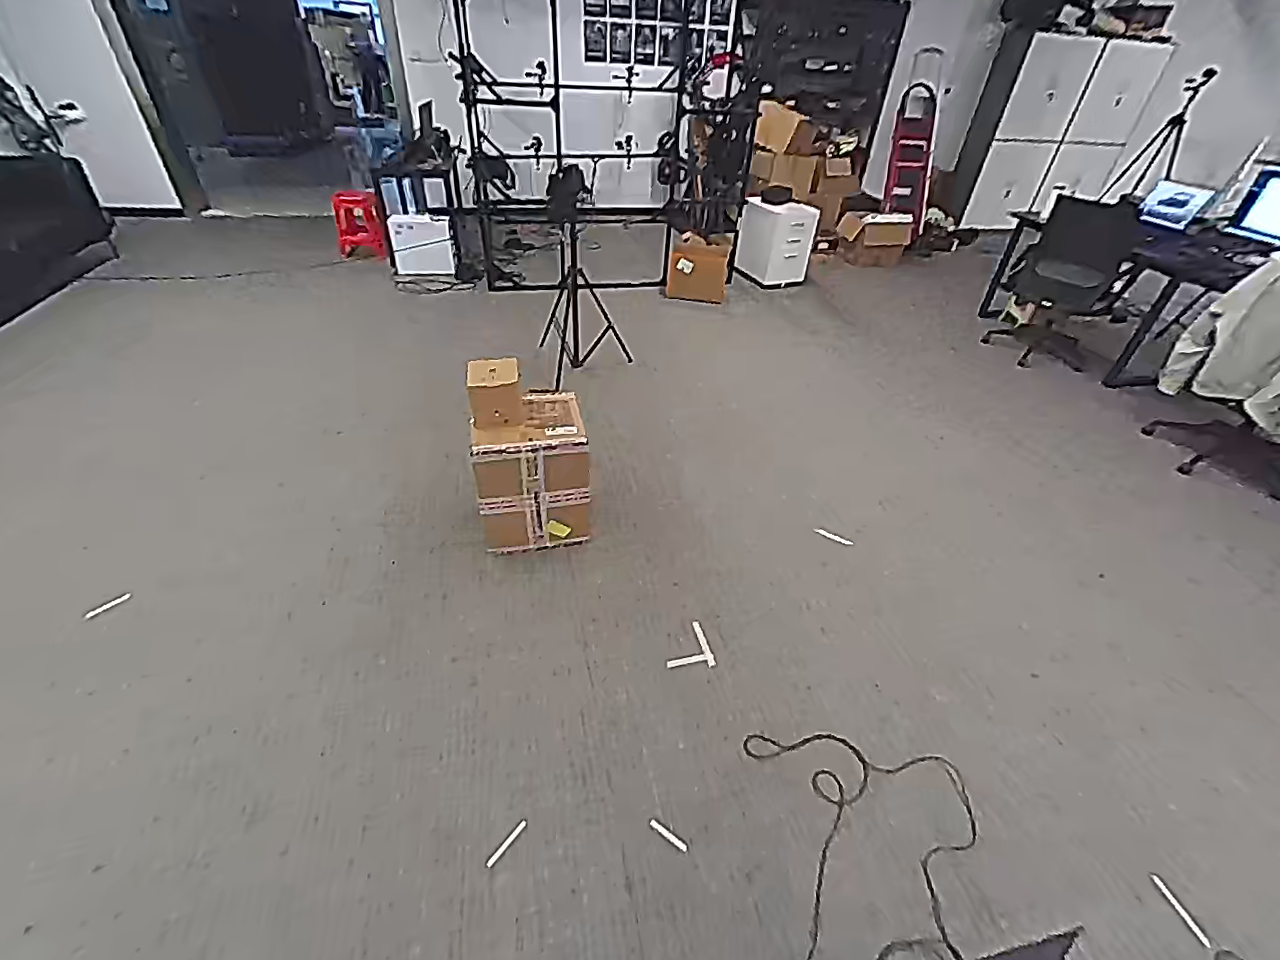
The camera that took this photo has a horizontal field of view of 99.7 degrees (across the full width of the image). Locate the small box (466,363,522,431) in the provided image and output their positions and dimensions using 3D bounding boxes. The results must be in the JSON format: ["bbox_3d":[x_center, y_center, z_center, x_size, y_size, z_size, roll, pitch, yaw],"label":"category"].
[{"bbox_3d":[-0.508,-0.291,1.887,0.168,0.176,0.179,-7,42,-10],"label":"small box"}]
